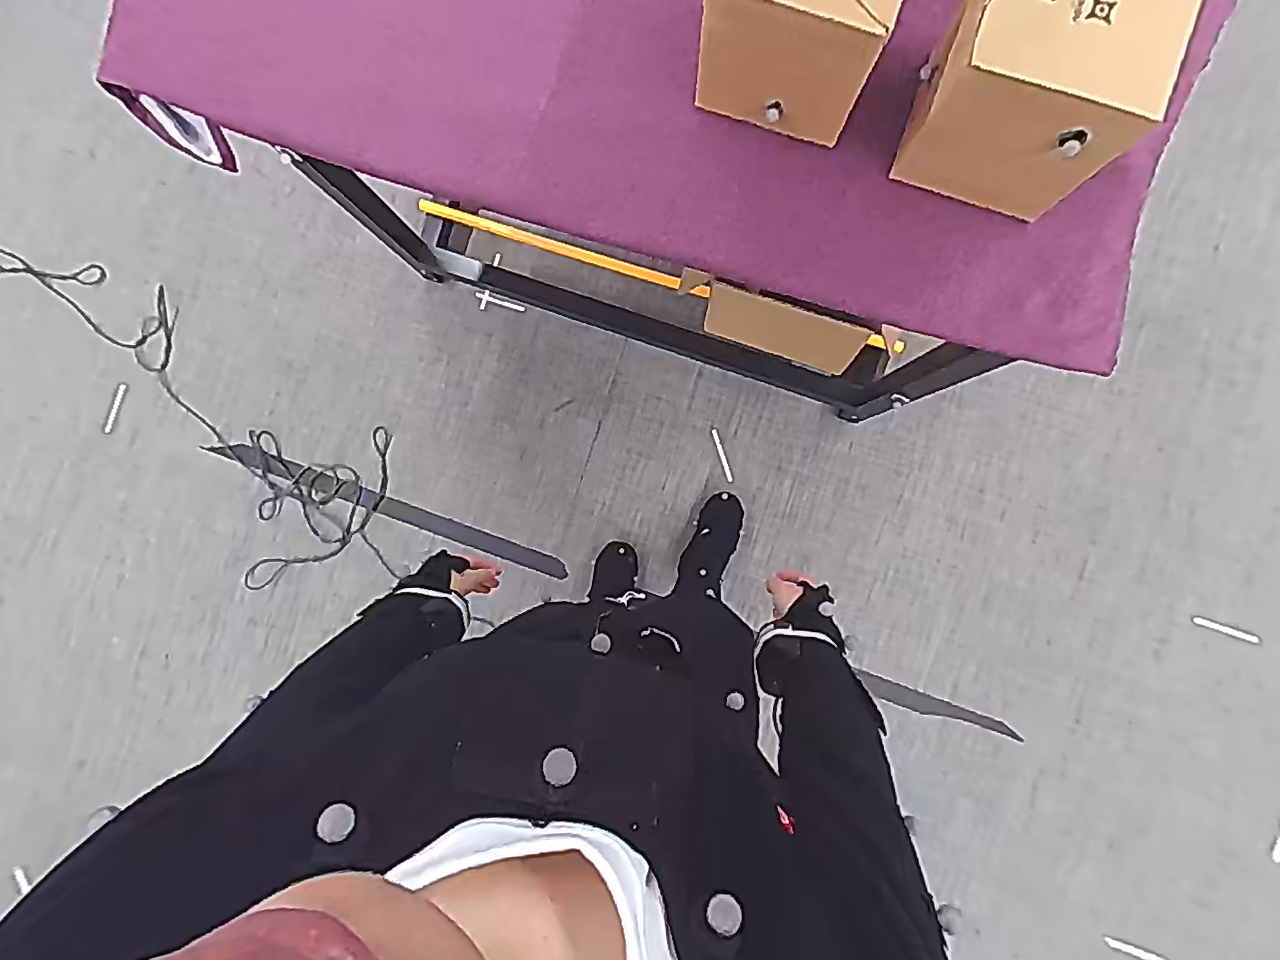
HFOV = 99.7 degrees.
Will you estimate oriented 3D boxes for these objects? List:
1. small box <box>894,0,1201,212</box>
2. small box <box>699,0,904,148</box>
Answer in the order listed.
[{"bbox_3d":[0.402,-0.411,0.558,0.179,0.176,0.168,20,88,3],"label":"small box"},{"bbox_3d":[0.175,-0.503,0.571,0.179,0.176,0.168,20,89,4],"label":"small box"}]
